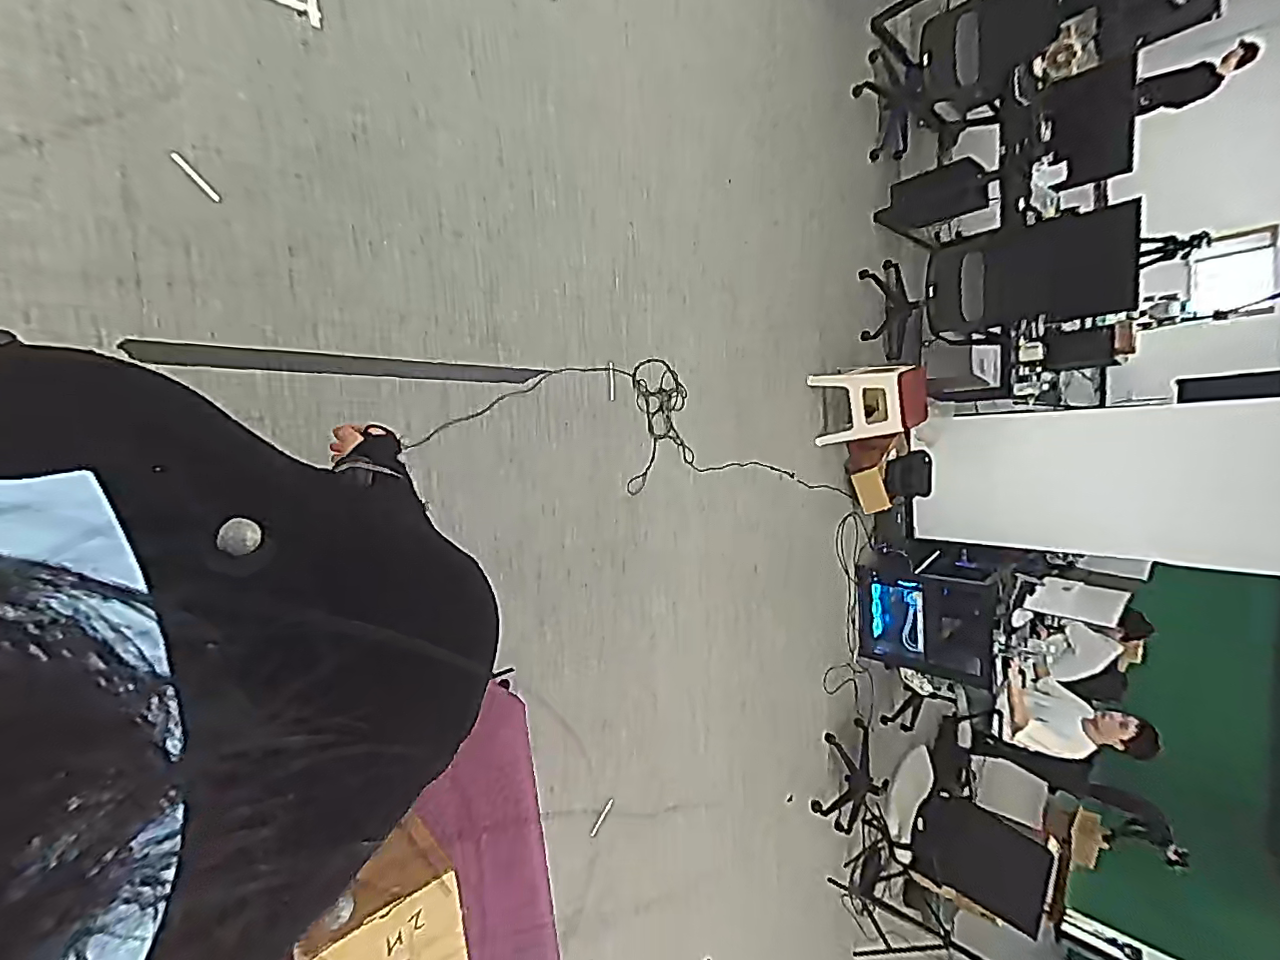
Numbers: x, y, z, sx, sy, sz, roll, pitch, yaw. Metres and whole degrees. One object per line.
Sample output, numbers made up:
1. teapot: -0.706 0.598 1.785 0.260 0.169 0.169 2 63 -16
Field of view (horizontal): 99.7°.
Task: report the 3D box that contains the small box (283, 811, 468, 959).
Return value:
1. small box: -0.333 0.572 0.683 0.168 0.176 0.179 -11 98 -42
